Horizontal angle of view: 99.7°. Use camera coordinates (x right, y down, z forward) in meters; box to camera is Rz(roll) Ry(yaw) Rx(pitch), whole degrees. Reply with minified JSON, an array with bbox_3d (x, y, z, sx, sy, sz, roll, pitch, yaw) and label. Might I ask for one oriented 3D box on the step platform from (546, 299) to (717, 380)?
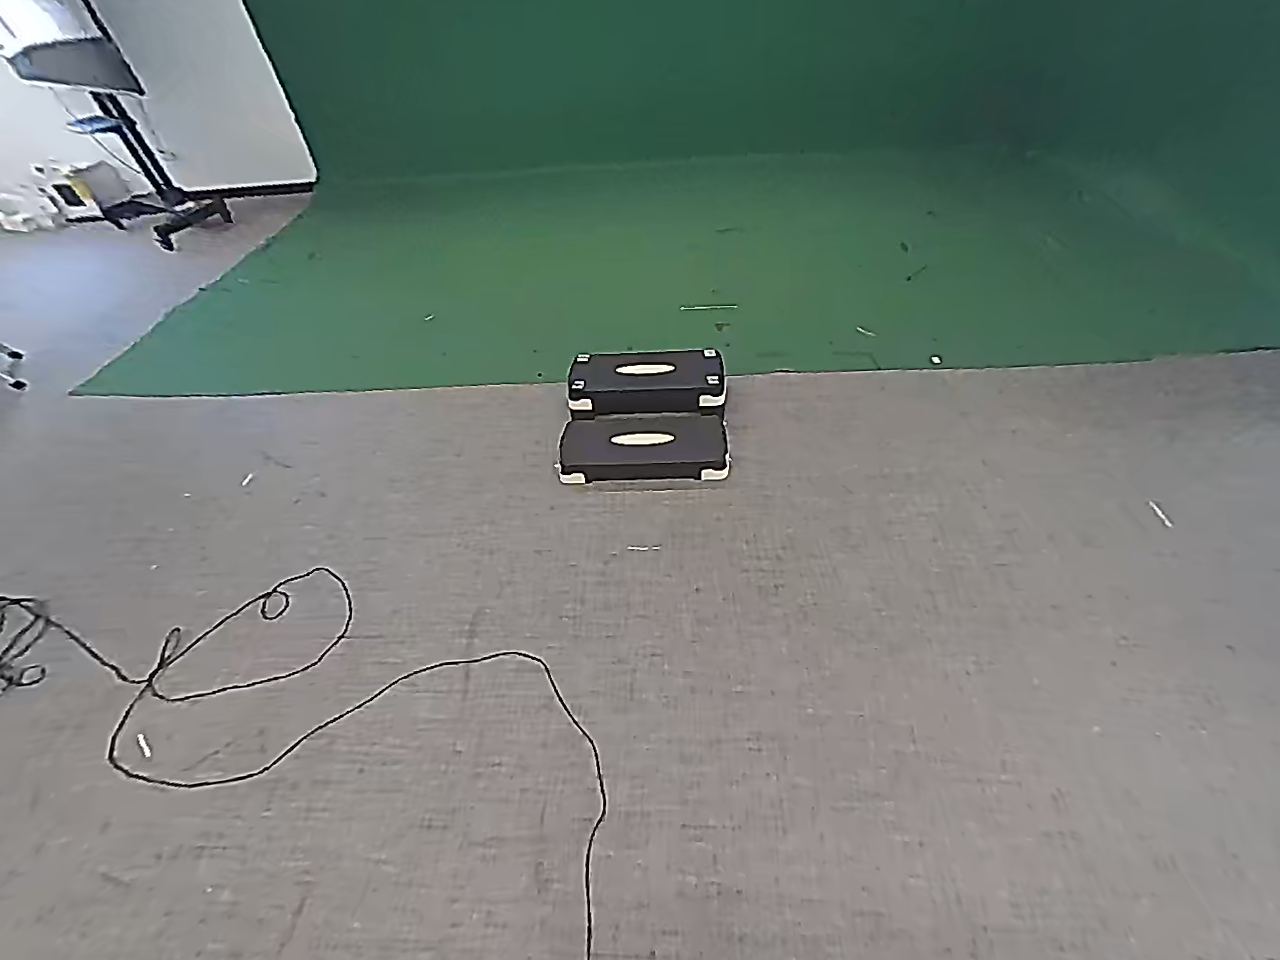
[{"bbox_3d":[-0.029,-0.579,2.237,0.684,0.204,0.286,-2,47,5],"label":"step platform"}]
